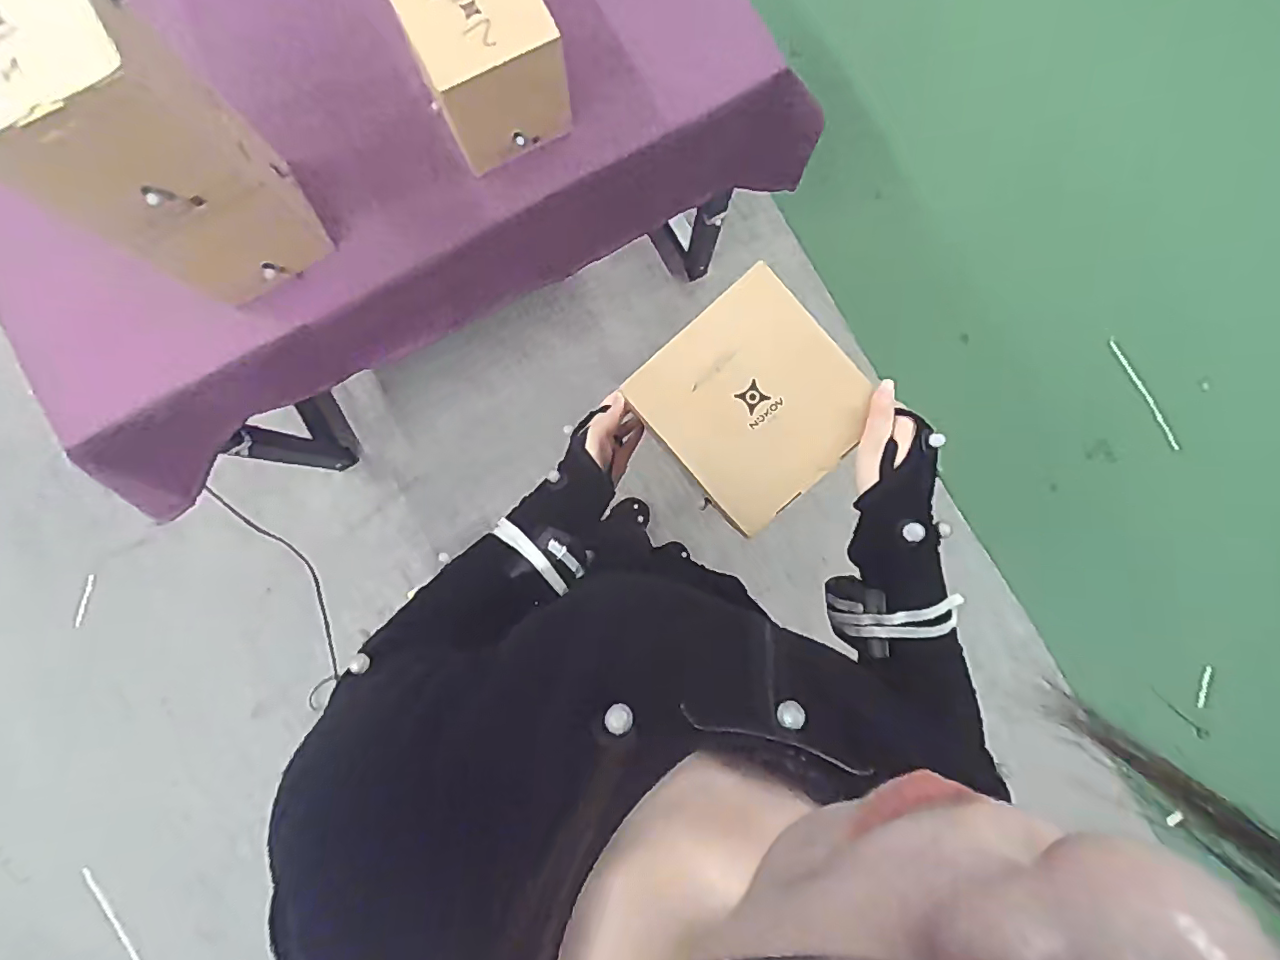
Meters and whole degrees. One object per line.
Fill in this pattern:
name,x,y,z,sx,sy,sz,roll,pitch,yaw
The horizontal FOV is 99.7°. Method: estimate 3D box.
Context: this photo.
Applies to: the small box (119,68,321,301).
small box,-0.560,-0.371,0.710,0.179,0.176,0.168,-31,88,-4
